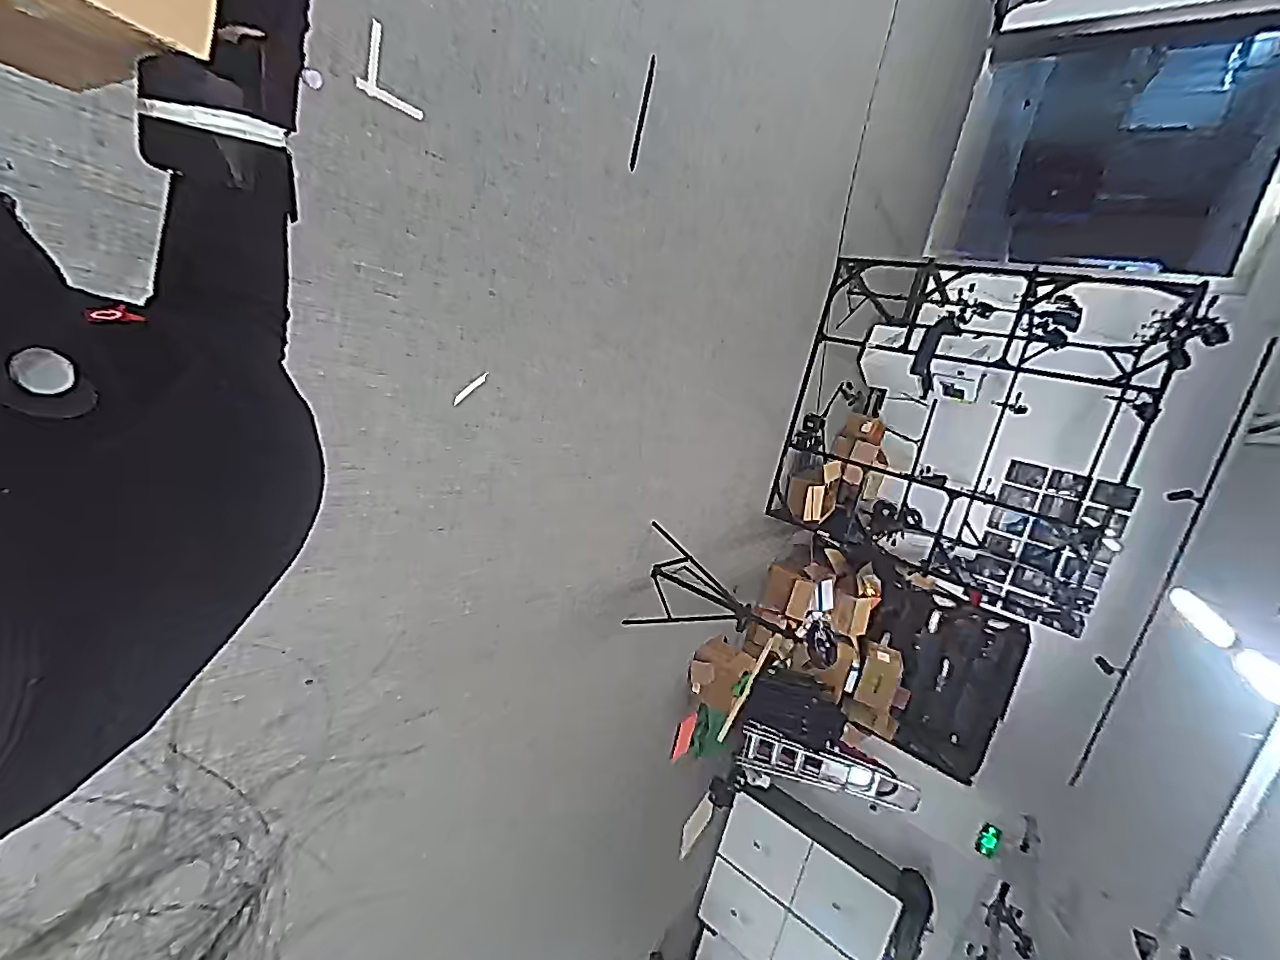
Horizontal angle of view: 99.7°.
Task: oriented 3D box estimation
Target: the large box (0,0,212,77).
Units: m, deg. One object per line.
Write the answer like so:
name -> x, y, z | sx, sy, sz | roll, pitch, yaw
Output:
large box -> -0.464, -0.453, 0.221 | 0.408, 0.320, 0.320 | -2, 111, -57
